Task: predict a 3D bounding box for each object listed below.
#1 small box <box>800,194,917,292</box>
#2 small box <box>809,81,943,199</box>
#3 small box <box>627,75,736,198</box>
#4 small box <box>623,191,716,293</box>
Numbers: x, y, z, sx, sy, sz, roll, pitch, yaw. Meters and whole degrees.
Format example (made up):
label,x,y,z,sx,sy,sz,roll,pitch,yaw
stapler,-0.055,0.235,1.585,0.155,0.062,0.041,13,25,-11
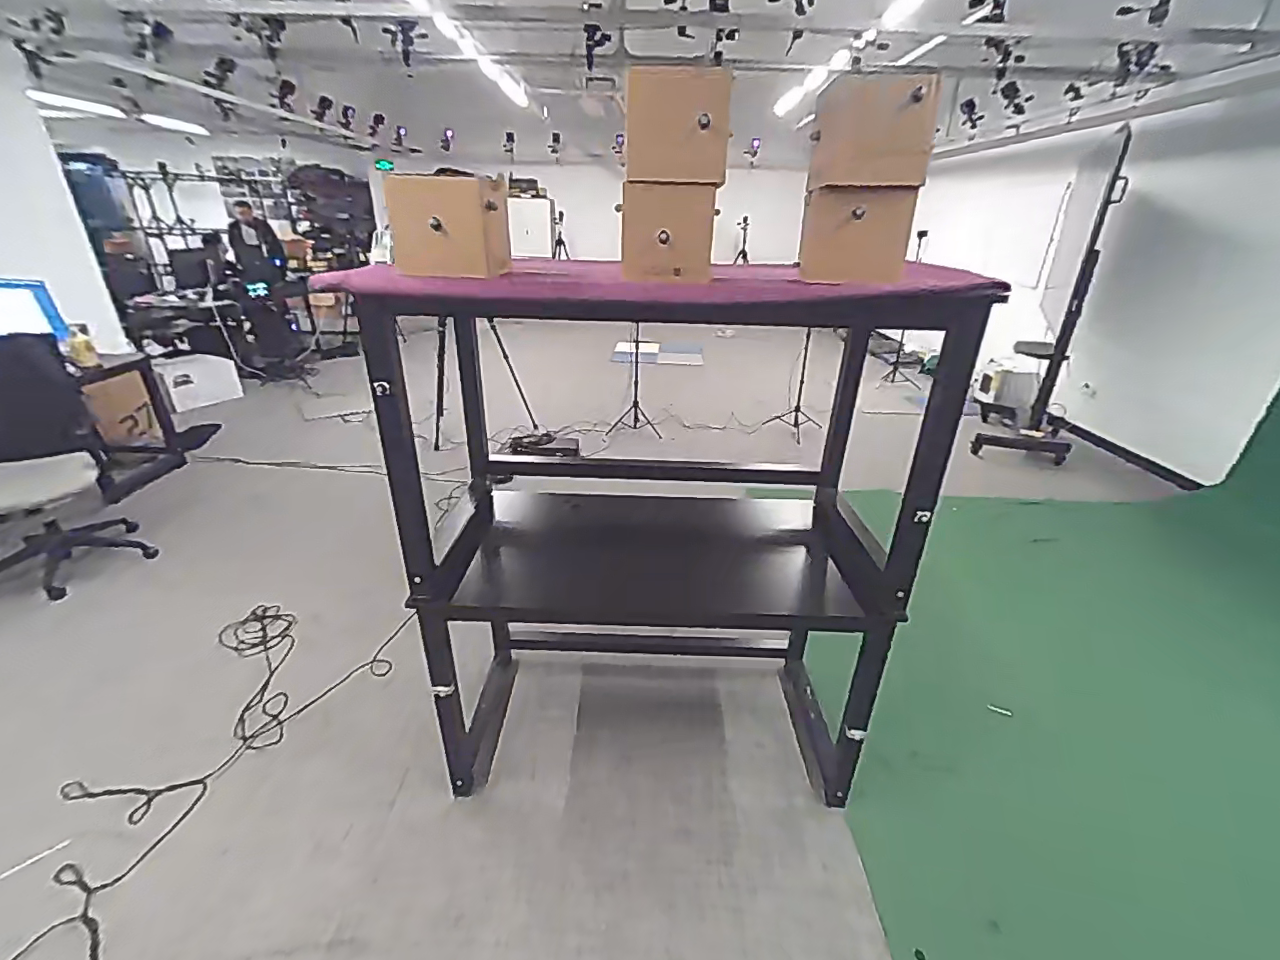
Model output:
label,x,y,z,sx,sy,sz,roll,pitch,yaw
small box,0.419,-0.464,1.072,0.179,0.176,0.168,4,24,6
small box,0.418,-0.607,0.993,0.179,0.176,0.168,2,24,2
small box,0.071,-0.603,0.970,0.179,0.176,0.168,2,24,3
small box,0.056,-0.461,1.050,0.168,0.176,0.179,4,25,2
